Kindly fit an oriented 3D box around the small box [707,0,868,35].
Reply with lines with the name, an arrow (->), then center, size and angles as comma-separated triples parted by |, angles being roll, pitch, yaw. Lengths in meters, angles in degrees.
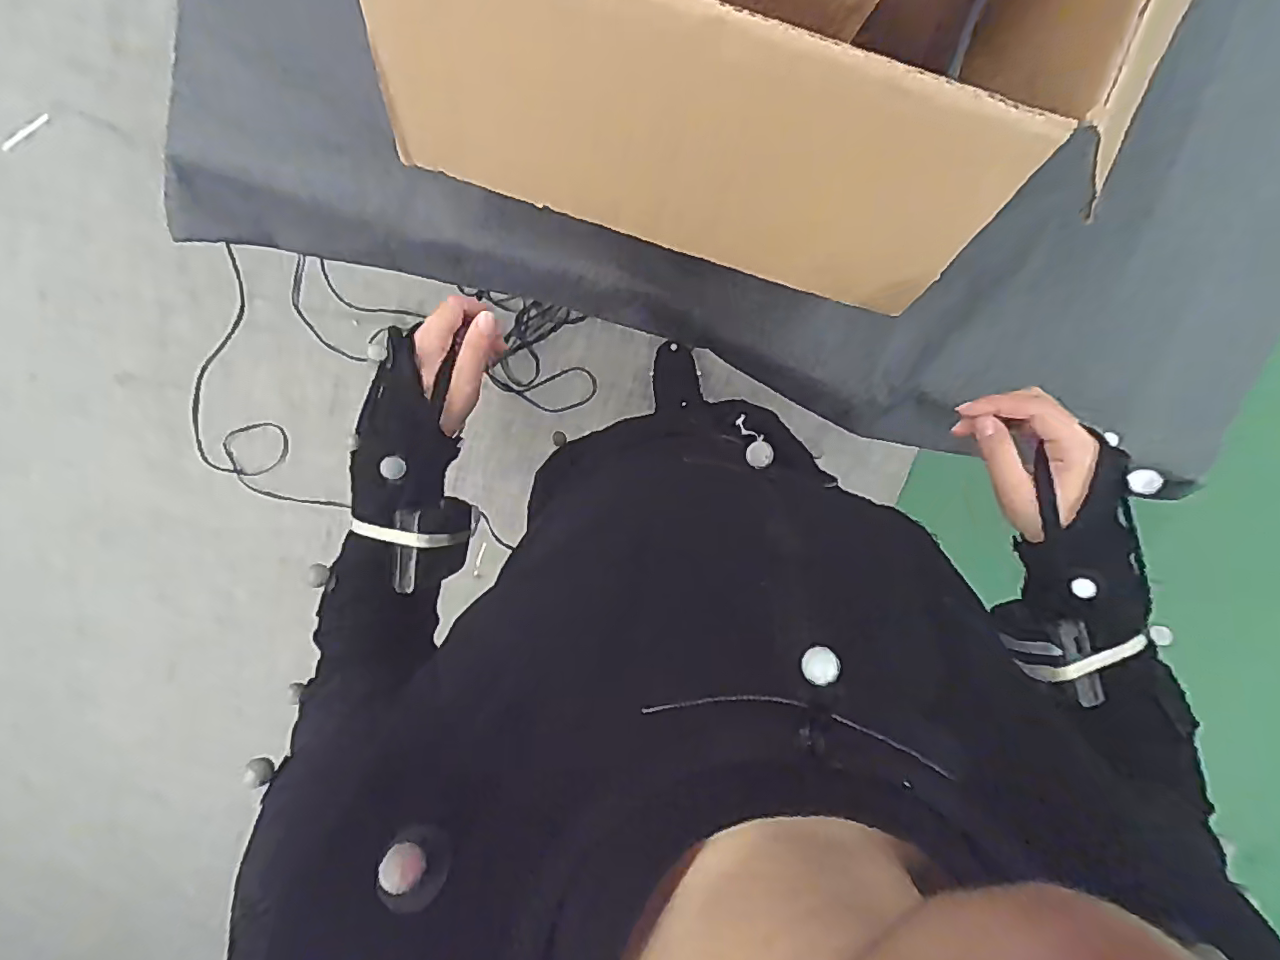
small box -> 0.087, -0.385, 0.282 | 0.179, 0.176, 0.168 | 15, 101, -3
